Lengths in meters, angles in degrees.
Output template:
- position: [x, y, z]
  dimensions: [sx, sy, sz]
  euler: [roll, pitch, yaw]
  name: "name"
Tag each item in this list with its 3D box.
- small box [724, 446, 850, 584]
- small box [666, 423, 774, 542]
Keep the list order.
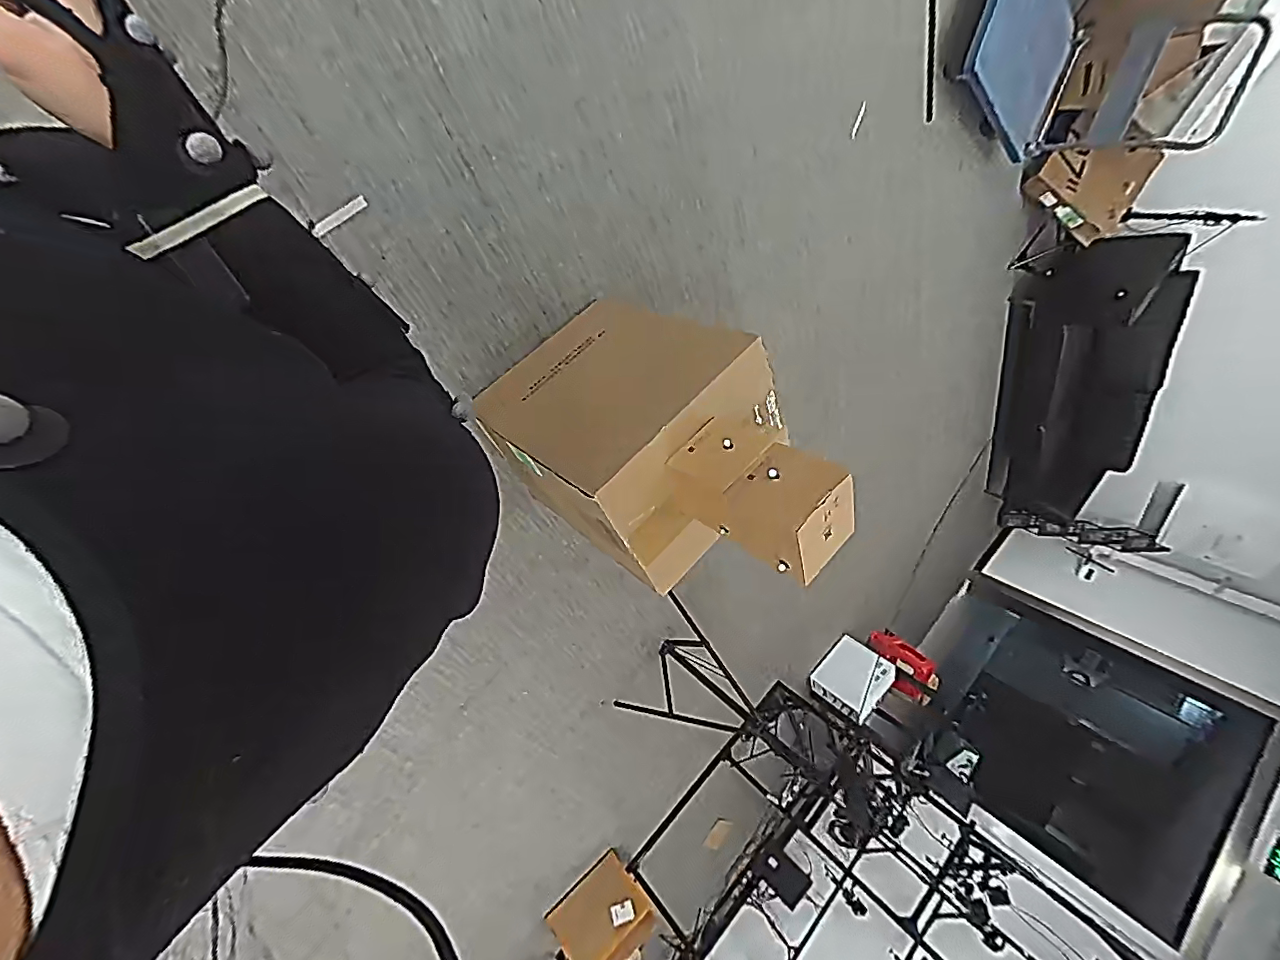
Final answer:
- position: [0.288, 0.062, 1.053]
  dimensions: [0.168, 0.176, 0.179]
  euler: [-42, 135, -21]
  name: "small box"
- position: [0.179, -0.004, 1.159]
  dimensions: [0.168, 0.176, 0.179]
  euler: [-43, 136, -19]
  name: "small box"
